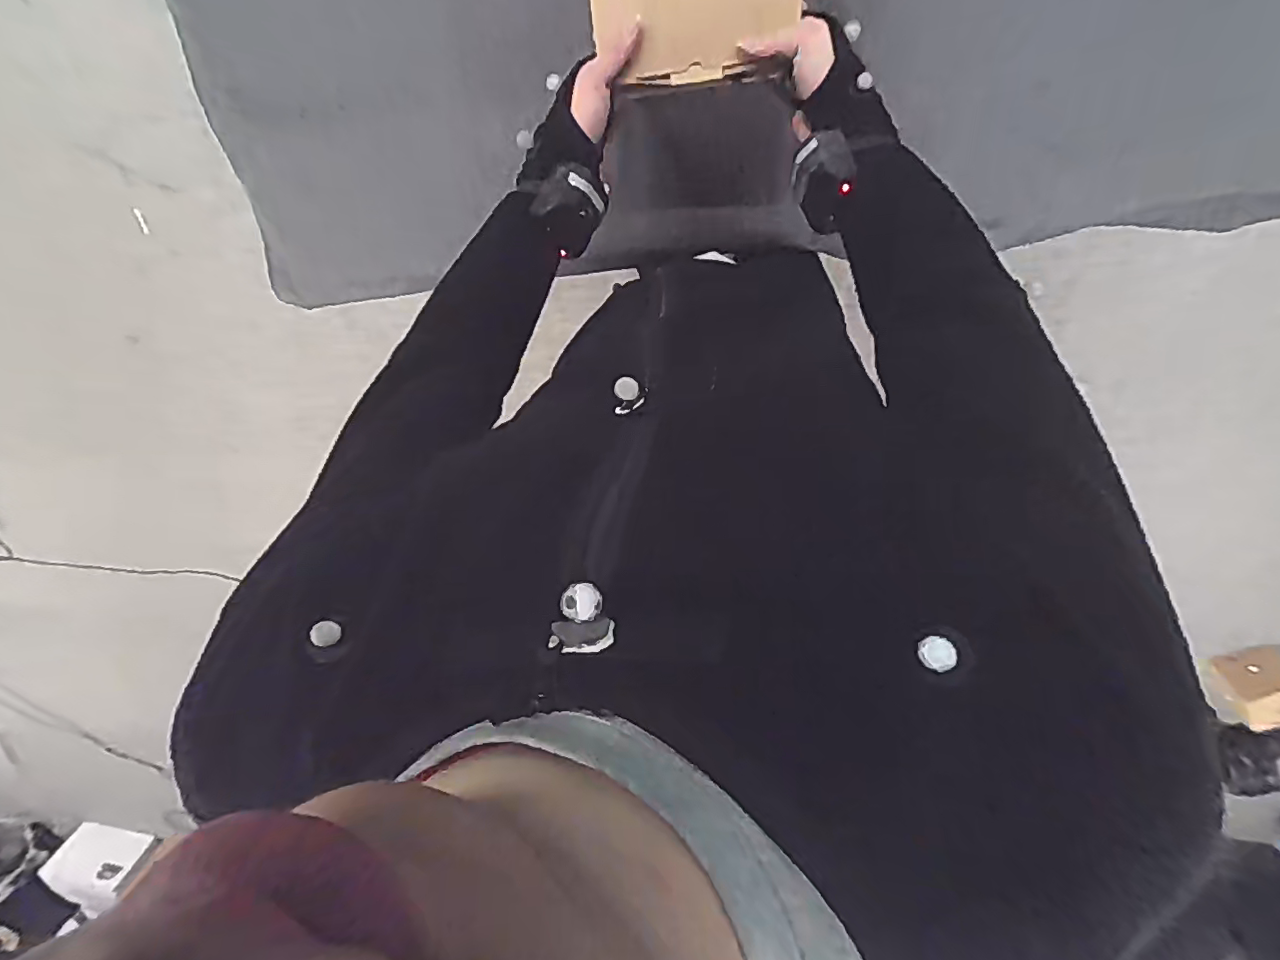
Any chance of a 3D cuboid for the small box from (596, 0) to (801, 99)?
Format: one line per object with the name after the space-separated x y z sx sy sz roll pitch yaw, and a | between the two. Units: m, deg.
0.052 -0.453 0.480 0.168 0.176 0.179 -3 122 8 | small box
